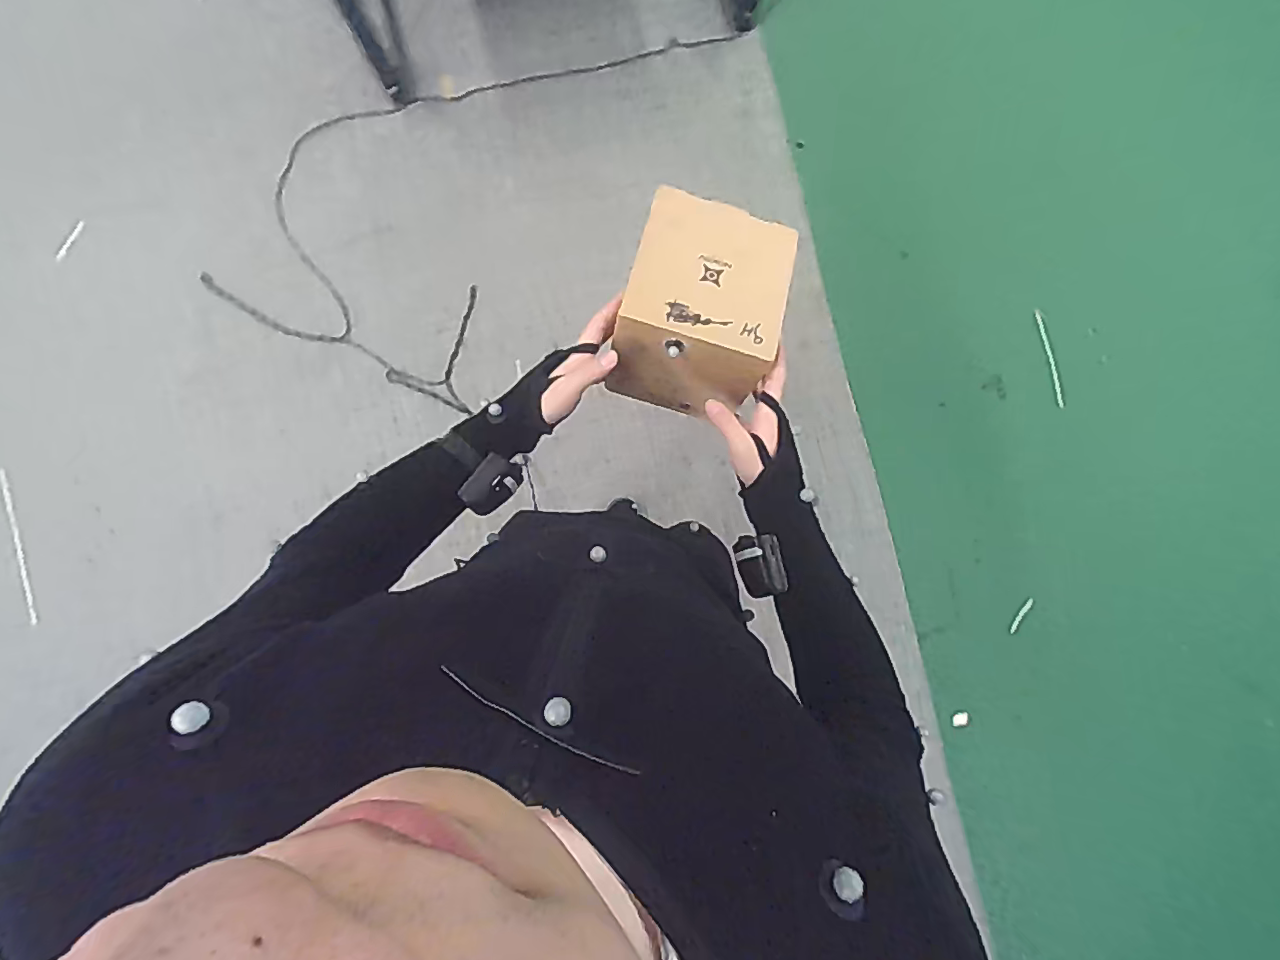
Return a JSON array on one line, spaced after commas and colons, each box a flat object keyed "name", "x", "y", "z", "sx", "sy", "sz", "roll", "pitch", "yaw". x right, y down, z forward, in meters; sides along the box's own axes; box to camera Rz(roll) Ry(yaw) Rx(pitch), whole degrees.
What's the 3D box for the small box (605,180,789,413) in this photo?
[{"name": "small box", "x": 0.059, "y": -0.208, "z": 0.648, "sx": 0.168, "sy": 0.176, "sz": 0.179, "roll": 15, "pitch": 71, "yaw": -4}]
